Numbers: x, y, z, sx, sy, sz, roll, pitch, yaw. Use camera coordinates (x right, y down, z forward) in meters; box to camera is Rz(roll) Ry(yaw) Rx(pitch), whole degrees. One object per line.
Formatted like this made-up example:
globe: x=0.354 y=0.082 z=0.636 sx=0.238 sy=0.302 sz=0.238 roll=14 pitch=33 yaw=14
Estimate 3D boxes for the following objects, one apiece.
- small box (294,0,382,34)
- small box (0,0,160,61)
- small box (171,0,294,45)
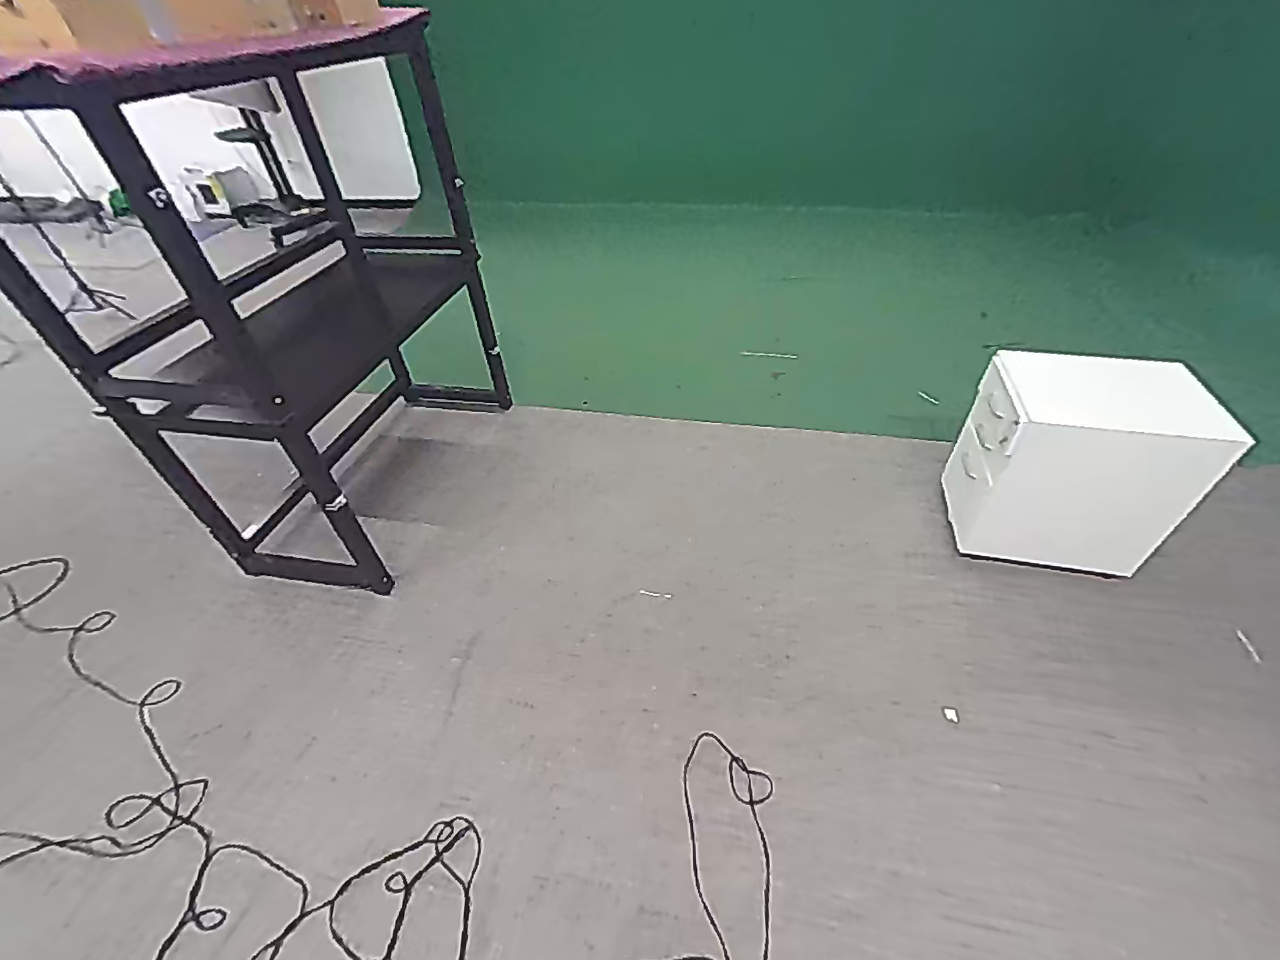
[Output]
small box: x=-0.852 y=-1.360 z=1.502 sx=0.168 sy=0.176 sz=0.179 roll=7 pitch=46 yaw=16
small box: x=-1.023 y=-0.853 z=0.956 sx=0.168 sy=0.176 sz=0.179 roll=3 pitch=43 yaw=6
small box: x=-0.962 y=-1.132 z=1.260 sx=0.179 sy=0.176 sz=0.168 roll=6 pitch=42 yaw=11
